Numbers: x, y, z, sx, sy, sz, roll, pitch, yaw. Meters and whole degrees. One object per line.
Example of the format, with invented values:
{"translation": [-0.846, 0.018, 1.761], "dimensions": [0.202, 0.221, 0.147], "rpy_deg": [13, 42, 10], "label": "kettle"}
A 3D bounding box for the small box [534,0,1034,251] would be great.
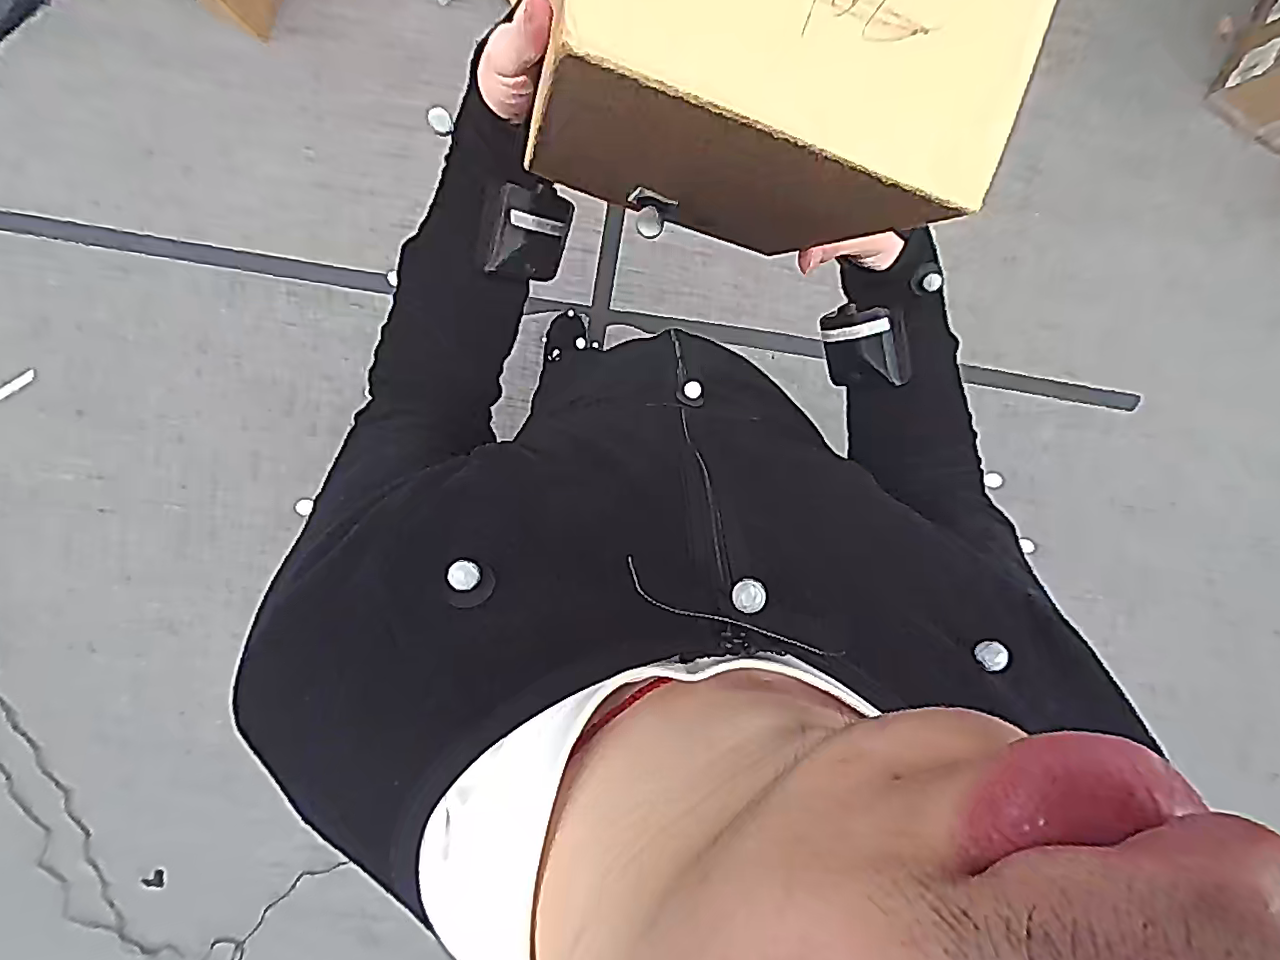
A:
{"translation": [0.051, -0.225, 0.249], "dimensions": [0.168, 0.176, 0.179], "rpy_deg": [11, 104, -18], "label": "small box"}
